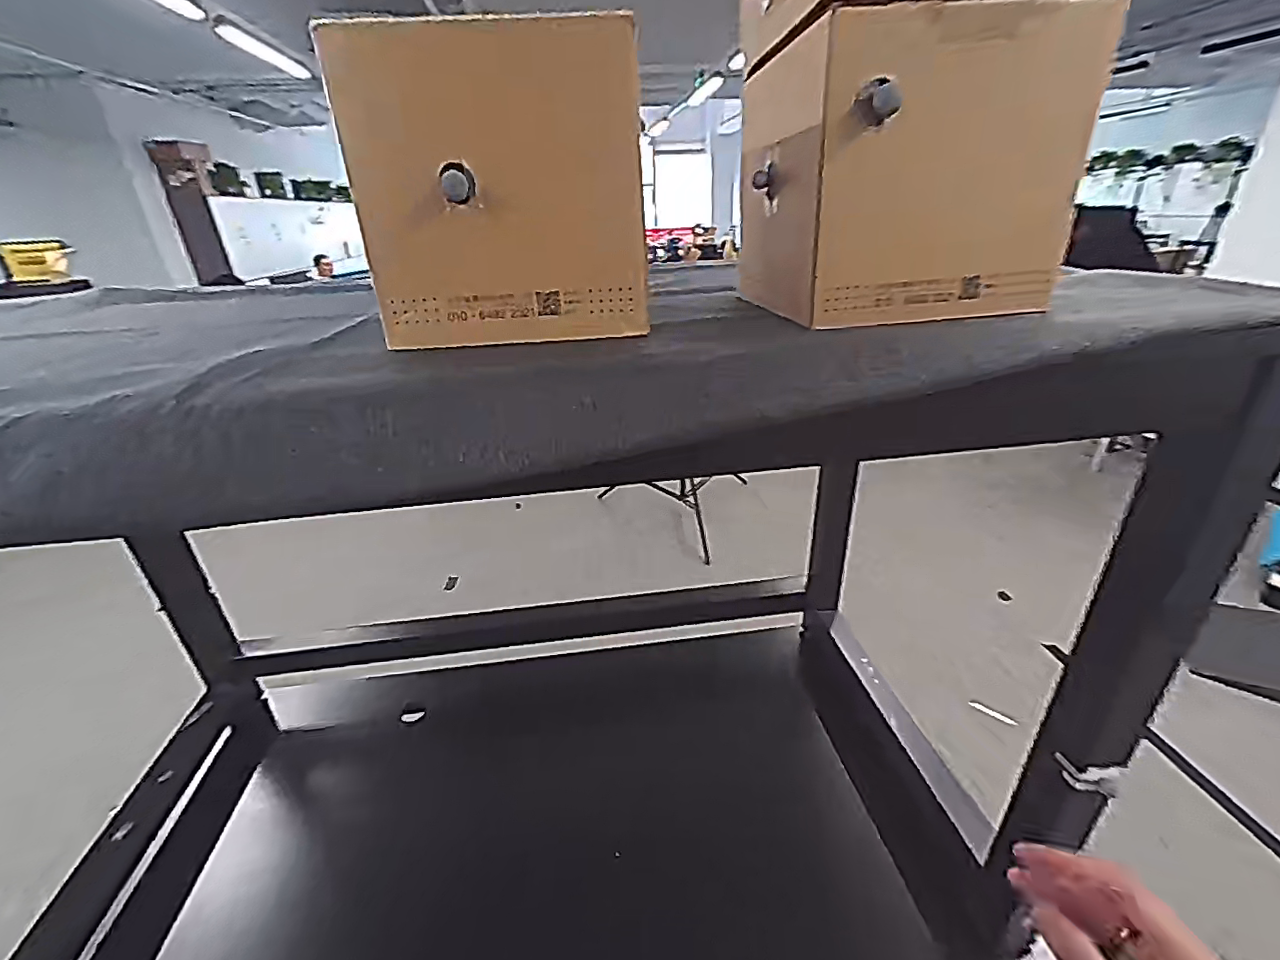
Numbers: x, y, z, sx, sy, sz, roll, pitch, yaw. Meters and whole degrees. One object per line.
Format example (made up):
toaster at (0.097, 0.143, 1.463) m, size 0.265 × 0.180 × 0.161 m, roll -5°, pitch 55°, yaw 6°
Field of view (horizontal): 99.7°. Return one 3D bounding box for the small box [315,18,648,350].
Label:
small box at (-0.085, -0.190, 0.384) m, size 0.168 × 0.176 × 0.179 m, roll -4°, pitch 25°, yaw -3°

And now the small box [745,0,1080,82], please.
small box at (0.166, -0.353, 0.315) m, size 0.179 × 0.176 × 0.168 m, roll -7°, pitch 24°, yaw -4°
